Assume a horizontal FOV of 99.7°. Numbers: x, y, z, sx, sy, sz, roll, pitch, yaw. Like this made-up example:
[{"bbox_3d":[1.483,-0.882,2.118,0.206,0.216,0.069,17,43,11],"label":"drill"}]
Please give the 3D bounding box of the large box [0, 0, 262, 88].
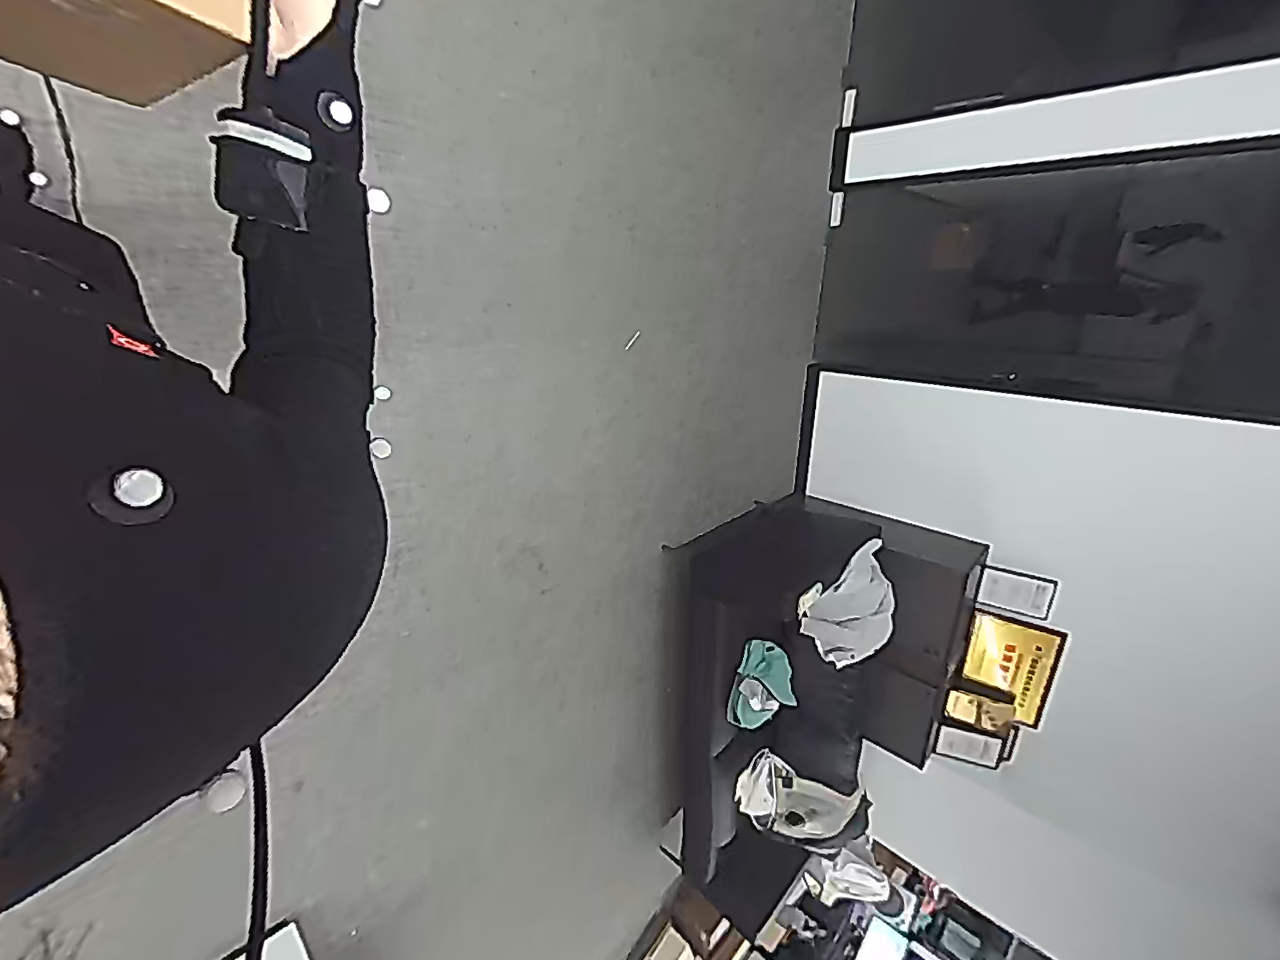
[{"bbox_3d":[-0.459,-0.455,0.241,0.408,0.320,0.320,-8,113,-53],"label":"large box"}]
